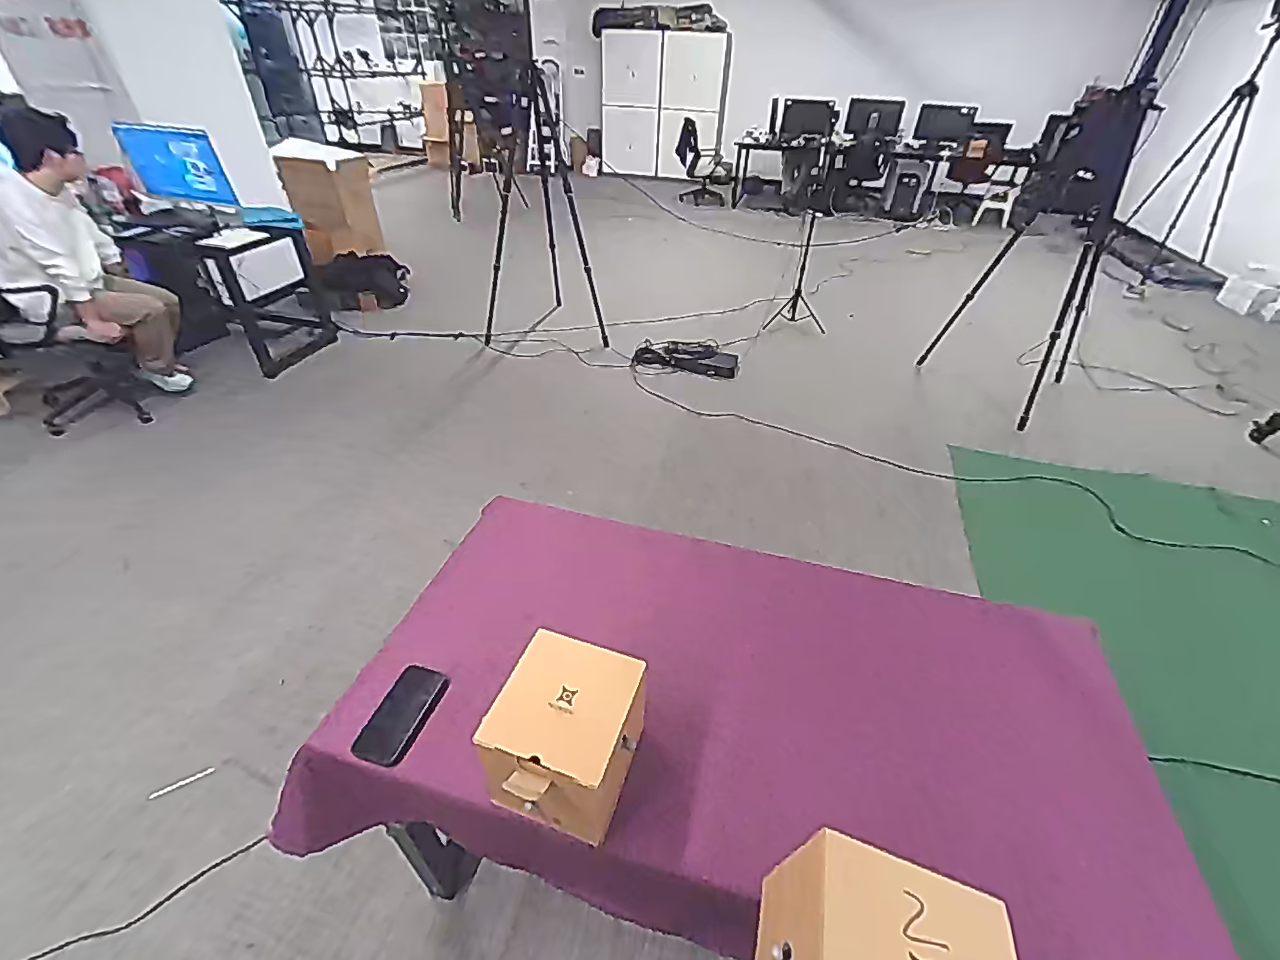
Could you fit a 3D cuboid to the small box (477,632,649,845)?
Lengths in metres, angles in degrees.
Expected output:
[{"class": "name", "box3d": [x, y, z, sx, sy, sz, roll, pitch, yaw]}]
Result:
[{"class": "small box", "box3d": [-0.097, 0.347, 0.735, 0.168, 0.176, 0.179, 14, 39, 14]}]
